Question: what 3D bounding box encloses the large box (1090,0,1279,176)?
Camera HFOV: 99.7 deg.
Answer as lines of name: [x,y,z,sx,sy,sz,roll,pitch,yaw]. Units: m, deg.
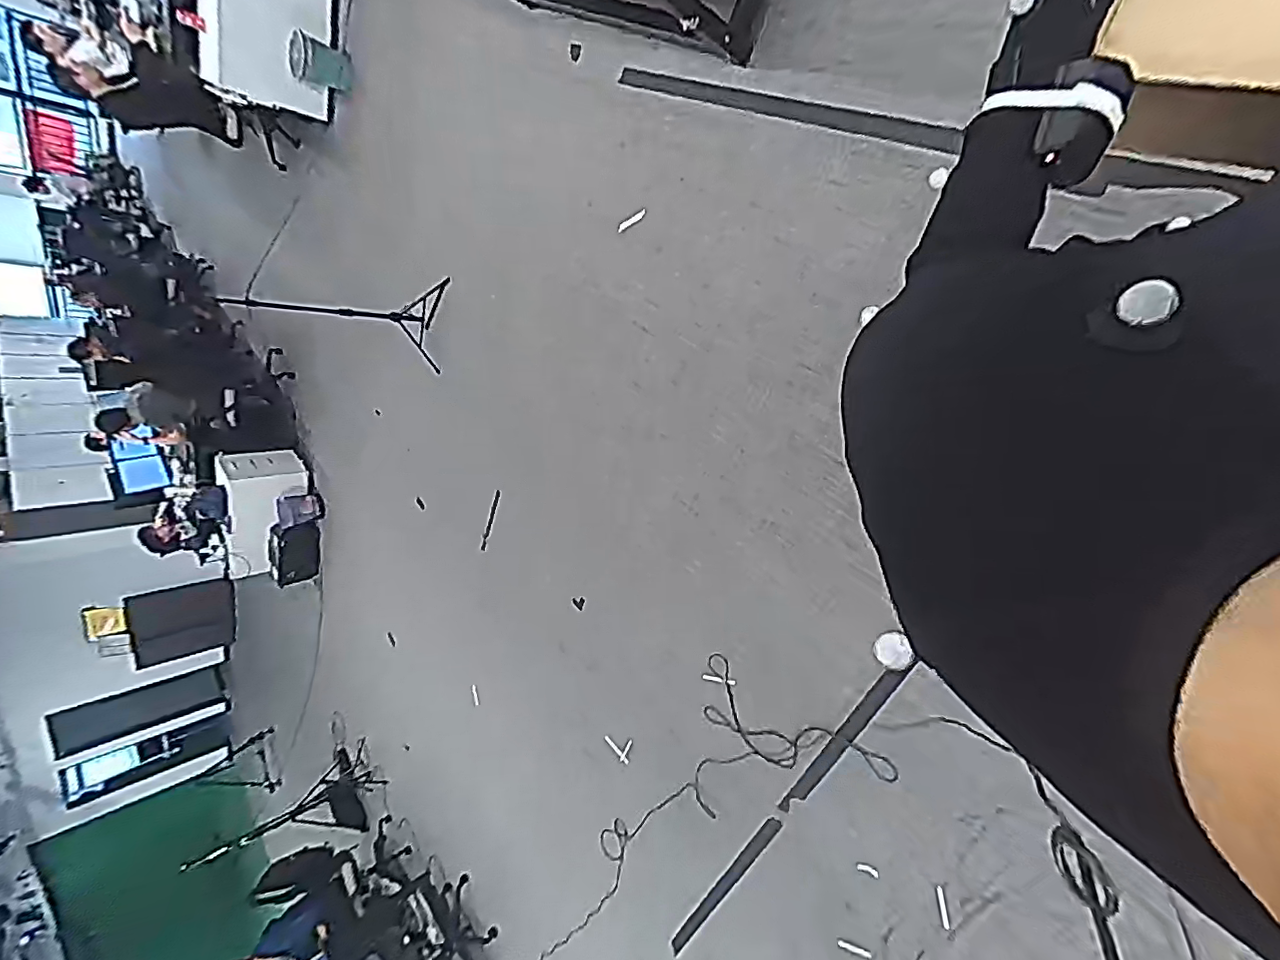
large box: [0.596,-0.376,0.338,0.408,0.320,0.320,31,124,29]
